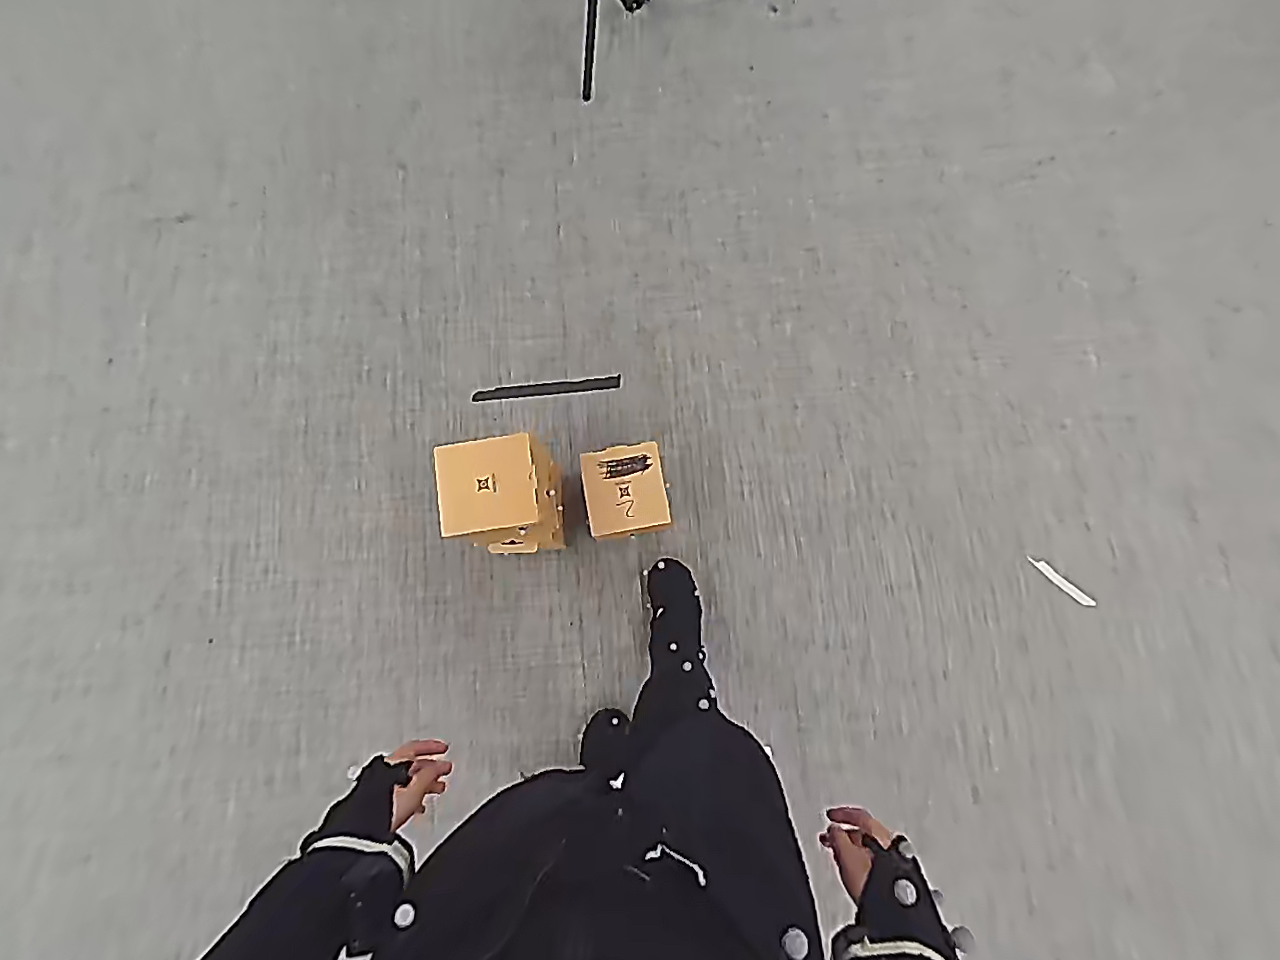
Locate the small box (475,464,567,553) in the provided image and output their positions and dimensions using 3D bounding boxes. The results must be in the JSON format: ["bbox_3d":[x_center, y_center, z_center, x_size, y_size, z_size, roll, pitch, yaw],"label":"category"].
[{"bbox_3d":[-0.254,0.069,1.185,0.168,0.176,0.179,-3,79,2],"label":"small box"}]

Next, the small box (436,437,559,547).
[{"bbox_3d":[-0.264,0.031,1.027,0.179,0.176,0.168,-10,79,0],"label":"small box"}]
